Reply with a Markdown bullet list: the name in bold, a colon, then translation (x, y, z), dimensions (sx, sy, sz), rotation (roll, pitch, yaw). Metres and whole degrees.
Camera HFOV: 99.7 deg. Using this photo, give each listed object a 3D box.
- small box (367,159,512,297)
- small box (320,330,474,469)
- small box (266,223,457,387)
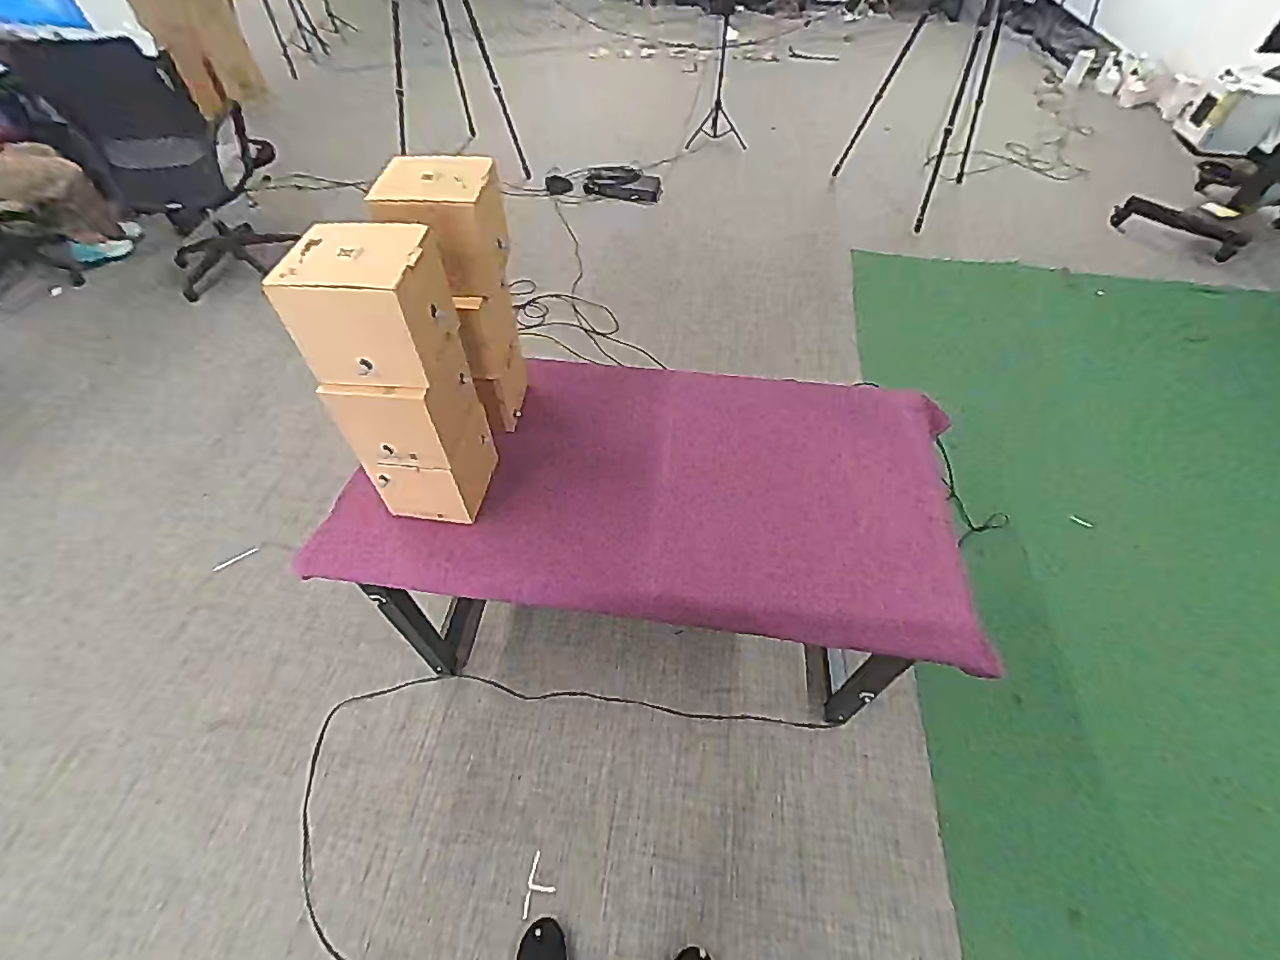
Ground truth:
- **small box**: translation (-0.337, -0.438, 0.947), dimensions (0.179, 0.176, 0.168), rotation (2, 52, 0)
- **small box**: translation (-0.395, -0.142, 0.921), dimensions (0.168, 0.176, 0.179), rotation (4, 52, 3)
- **small box**: translation (-0.390, -0.254, 0.801), dimensions (0.179, 0.176, 0.168), rotation (3, 51, 1)
